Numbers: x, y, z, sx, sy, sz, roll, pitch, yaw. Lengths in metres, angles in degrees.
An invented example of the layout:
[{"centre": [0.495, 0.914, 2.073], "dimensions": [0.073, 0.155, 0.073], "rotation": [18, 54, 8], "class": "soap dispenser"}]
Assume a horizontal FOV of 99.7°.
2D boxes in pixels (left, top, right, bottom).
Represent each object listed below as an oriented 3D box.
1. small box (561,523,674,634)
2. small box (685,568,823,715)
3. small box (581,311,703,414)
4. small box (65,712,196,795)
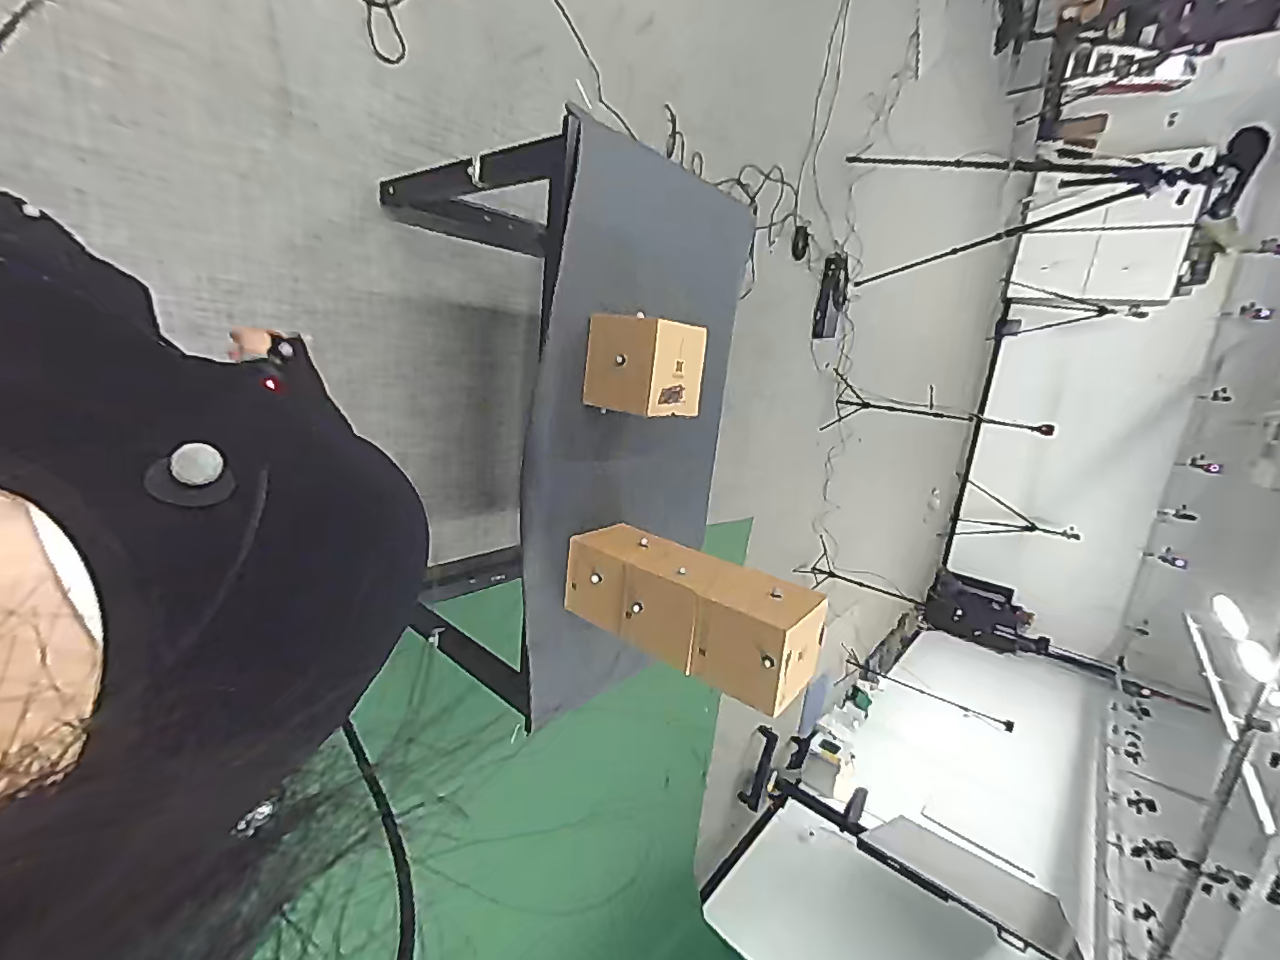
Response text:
[{"centre": [-0.050, 0.202, 1.163], "dimensions": [0.179, 0.176, 0.168], "rotation": [-10, 111, -51], "class": "small box"}, {"centre": [0.203, 0.273, 0.967], "dimensions": [0.179, 0.176, 0.168], "rotation": [-15, 114, -50], "class": "small box"}, {"centre": [0.000, -0.230, 1.065], "dimensions": [0.168, 0.176, 0.179], "rotation": [-8, 109, -51], "class": "small box"}, {"centre": [-1.119, 0.630, 1.185], "dimensions": [0.168, 0.176, 0.179], "rotation": [17, 90, -52], "class": "small box"}]
